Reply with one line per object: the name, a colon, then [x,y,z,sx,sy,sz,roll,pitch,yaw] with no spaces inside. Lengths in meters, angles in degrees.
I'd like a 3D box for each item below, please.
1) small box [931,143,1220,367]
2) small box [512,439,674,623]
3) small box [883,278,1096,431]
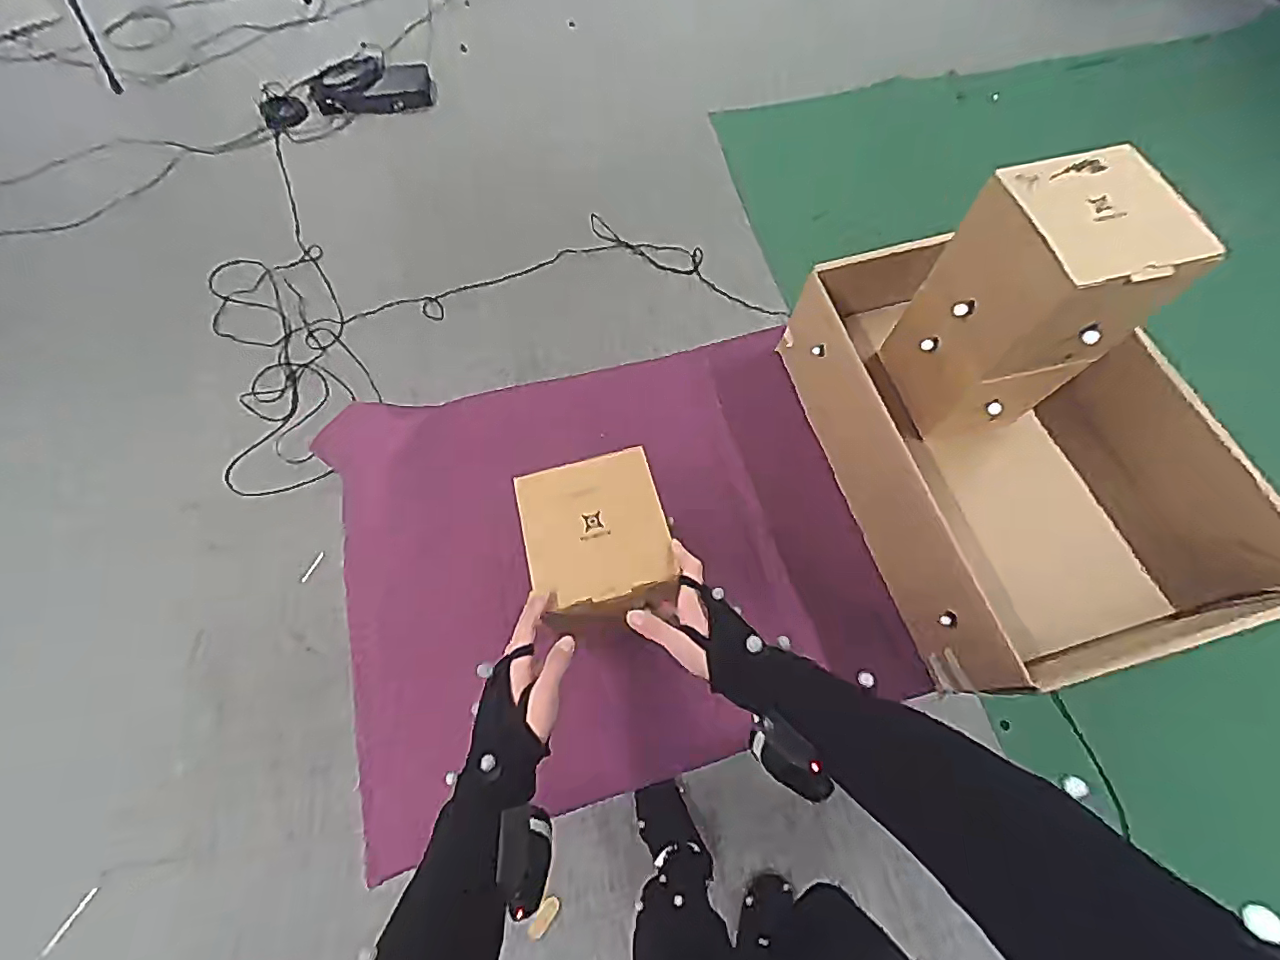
small box: [0.488,-0.252,0.642,0.168,0.176,0.179,-12,68,-4]
small box: [-0.054,0.077,0.703,0.168,0.176,0.179,-14,63,-4]
small box: [0.491,-0.187,0.792,0.168,0.176,0.179,-13,68,-3]
